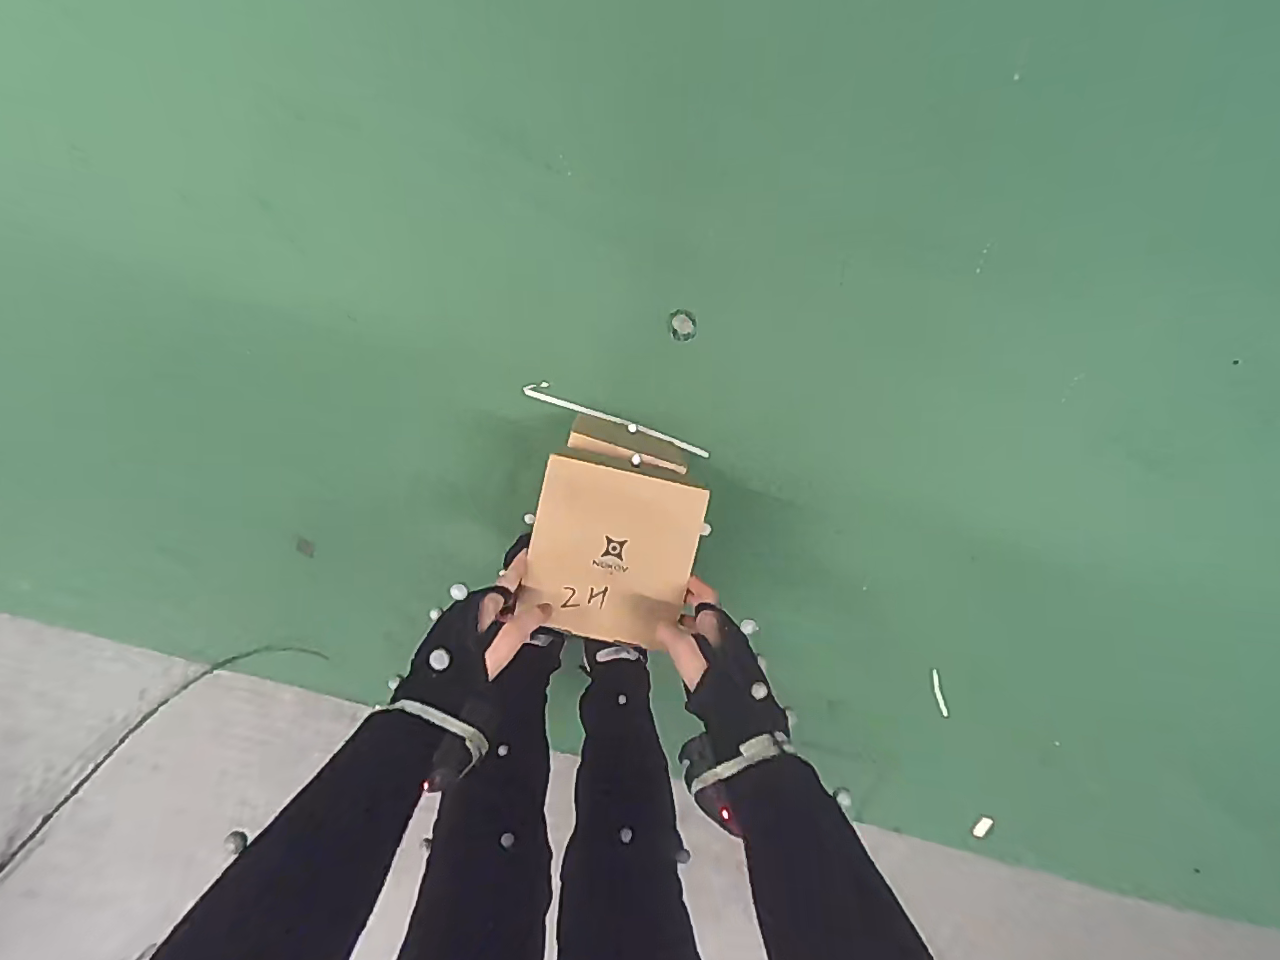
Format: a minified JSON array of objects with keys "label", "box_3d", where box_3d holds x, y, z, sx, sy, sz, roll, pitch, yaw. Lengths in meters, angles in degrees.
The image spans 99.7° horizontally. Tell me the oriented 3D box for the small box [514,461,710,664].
[{"label":"small box","box_3d":[-0.031,0.079,0.619,0.168,0.176,0.179,14,94,-3]}]
